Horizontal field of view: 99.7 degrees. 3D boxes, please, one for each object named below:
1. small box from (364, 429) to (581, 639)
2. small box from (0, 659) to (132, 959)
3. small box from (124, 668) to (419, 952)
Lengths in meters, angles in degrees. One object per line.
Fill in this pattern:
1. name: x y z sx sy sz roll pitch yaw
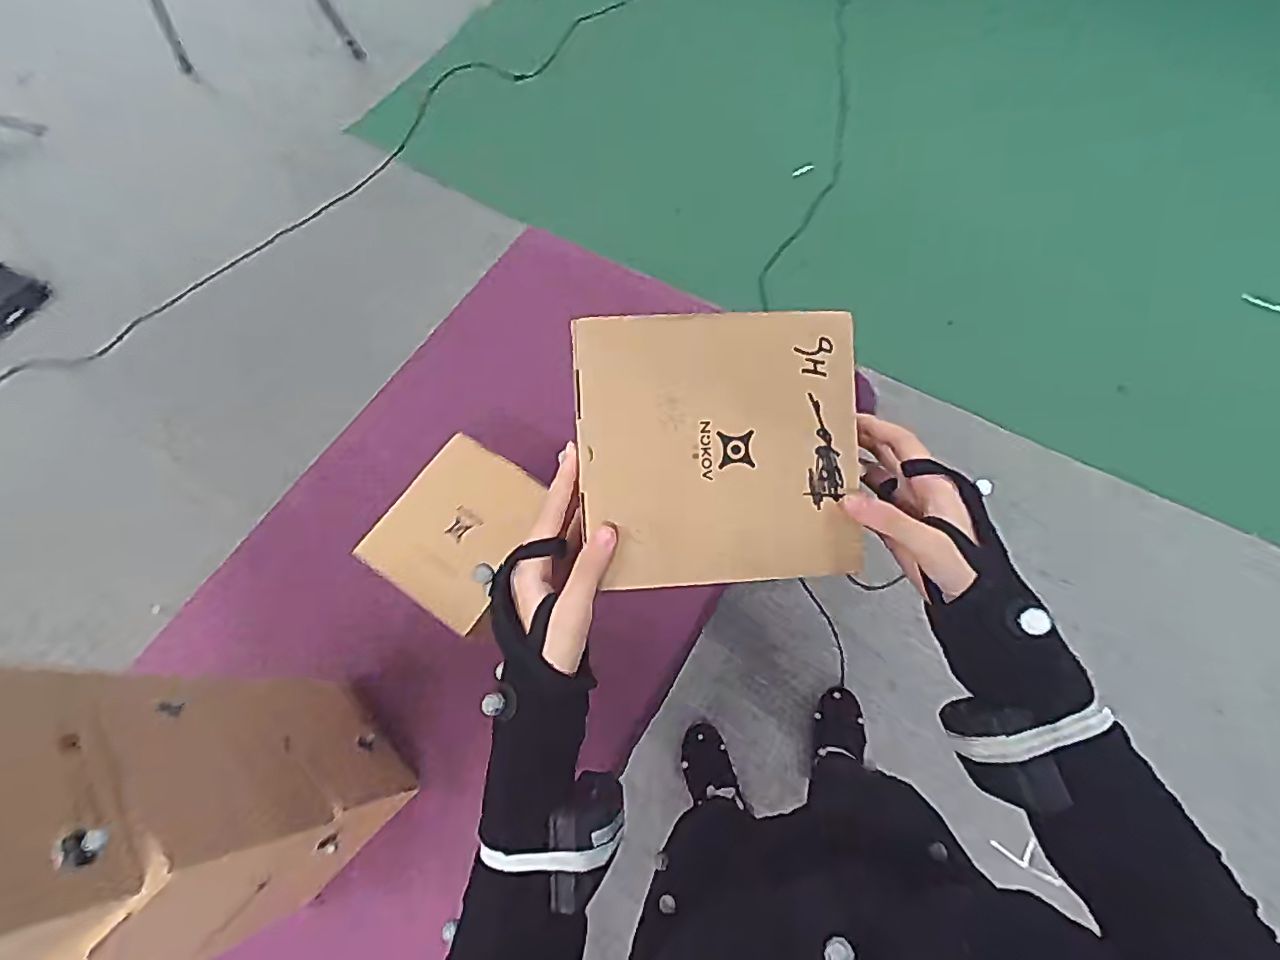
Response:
1. small box: -0.190 0.075 0.676 0.168 0.176 0.179 30 73 17
2. small box: -0.426 0.206 0.282 0.179 0.176 0.168 -38 68 -11
3. small box: -0.380 0.332 0.582 0.168 0.176 0.179 40 75 19
